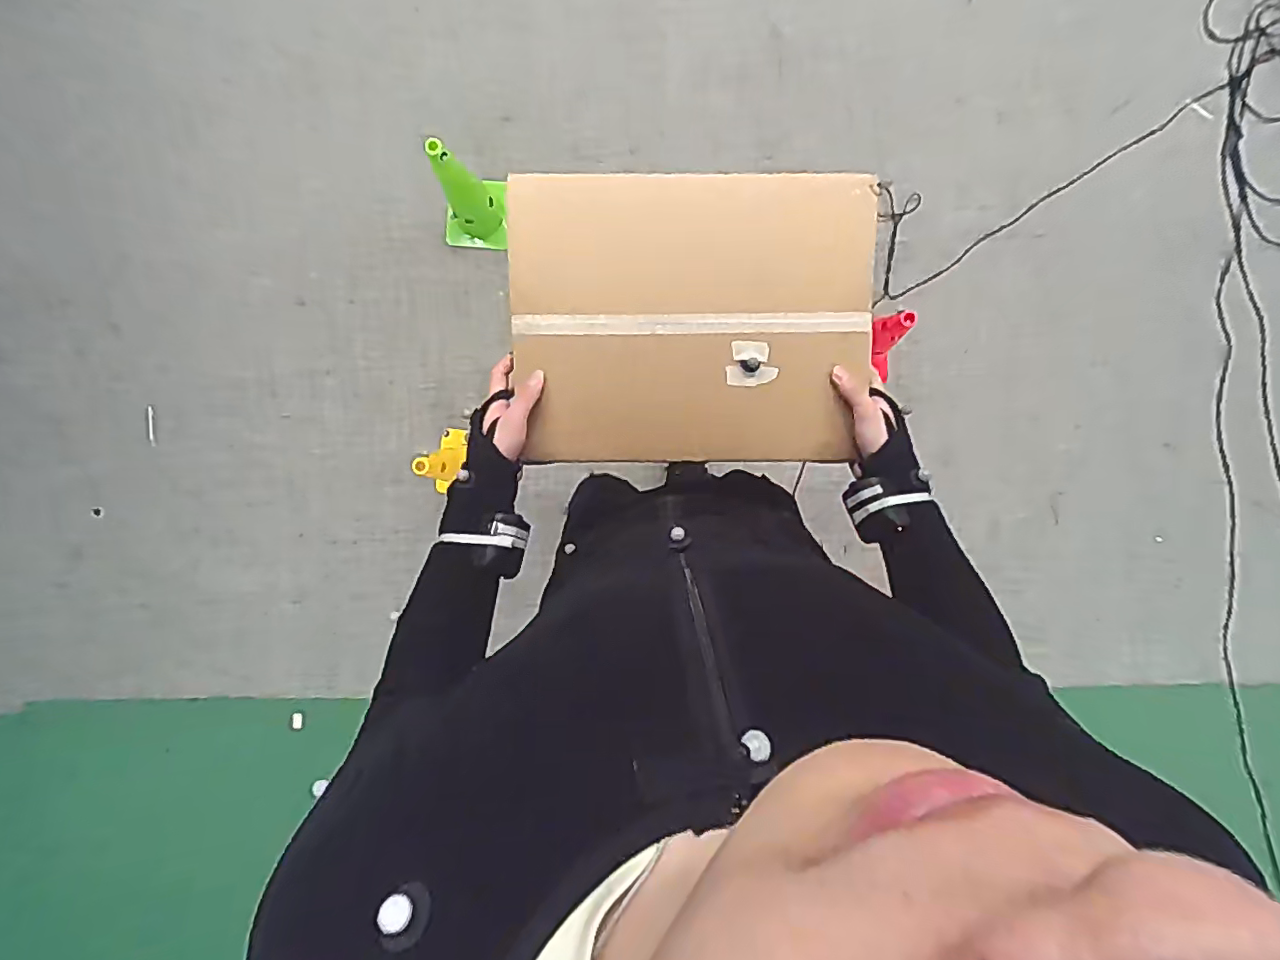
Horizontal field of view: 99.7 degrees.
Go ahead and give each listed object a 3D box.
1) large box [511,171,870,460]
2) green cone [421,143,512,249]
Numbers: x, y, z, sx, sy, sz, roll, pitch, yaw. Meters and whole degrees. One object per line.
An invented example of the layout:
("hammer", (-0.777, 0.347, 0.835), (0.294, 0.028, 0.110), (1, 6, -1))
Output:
("large box", (0.056, -0.205, 0.761), (0.408, 0.320, 0.320), (-1, 100, -1))
("green cone", (-0.492, -0.787, 1.445), (0.200, 0.368, 0.202), (4, 94, 2))
